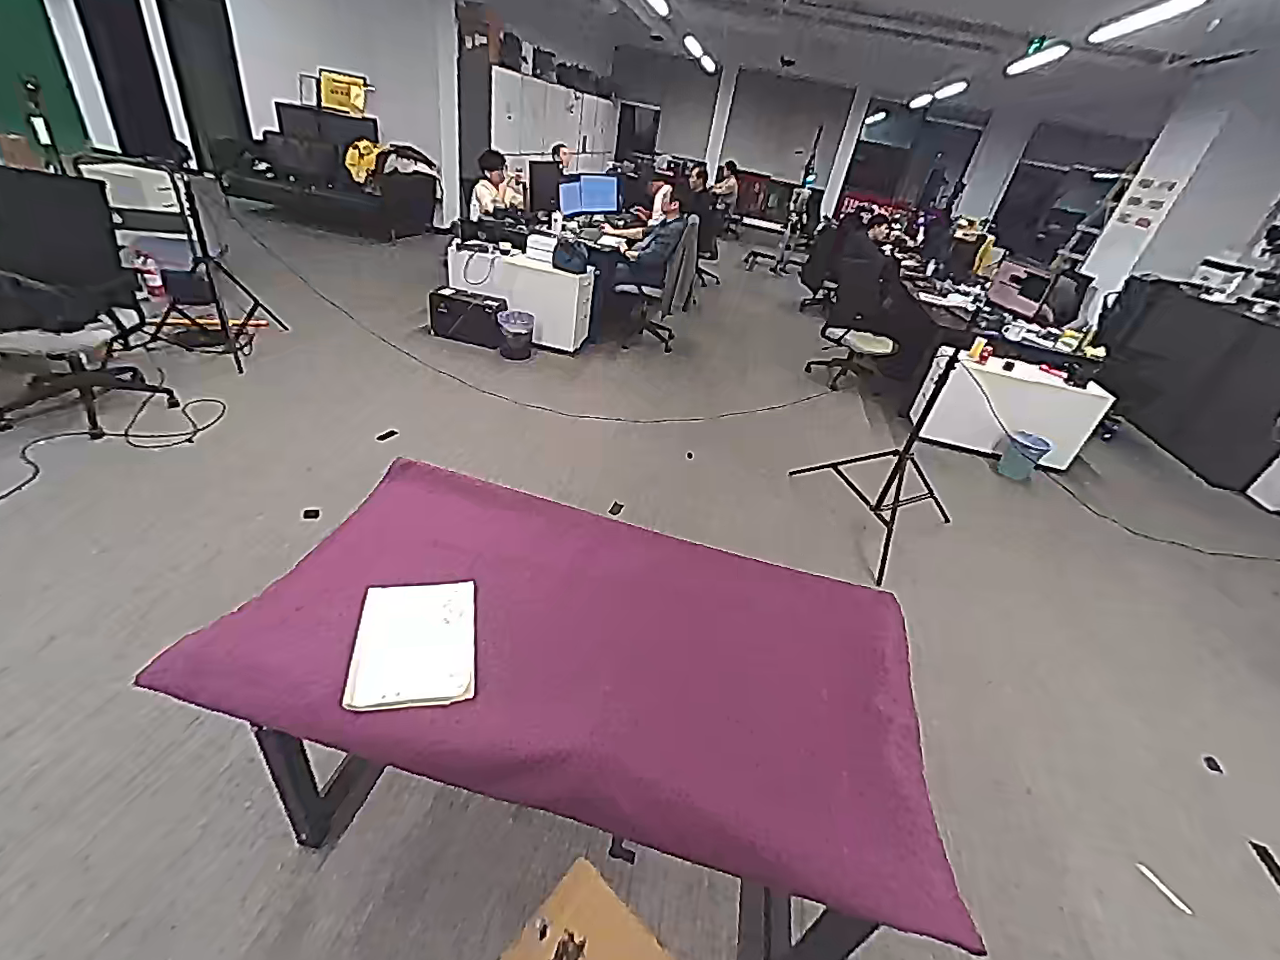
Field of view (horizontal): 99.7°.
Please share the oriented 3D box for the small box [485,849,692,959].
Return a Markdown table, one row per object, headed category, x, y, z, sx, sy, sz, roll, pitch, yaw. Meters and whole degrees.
| category | x | y | z | sx | sy | sz | roll | pitch | yaw |
| --- | --- | --- | --- | --- | --- | --- | --- | --- | --- |
| small box | -0.048 | 0.500 | 0.533 | 0.179 | 0.176 | 0.168 | 41 | 61 | 13 |
